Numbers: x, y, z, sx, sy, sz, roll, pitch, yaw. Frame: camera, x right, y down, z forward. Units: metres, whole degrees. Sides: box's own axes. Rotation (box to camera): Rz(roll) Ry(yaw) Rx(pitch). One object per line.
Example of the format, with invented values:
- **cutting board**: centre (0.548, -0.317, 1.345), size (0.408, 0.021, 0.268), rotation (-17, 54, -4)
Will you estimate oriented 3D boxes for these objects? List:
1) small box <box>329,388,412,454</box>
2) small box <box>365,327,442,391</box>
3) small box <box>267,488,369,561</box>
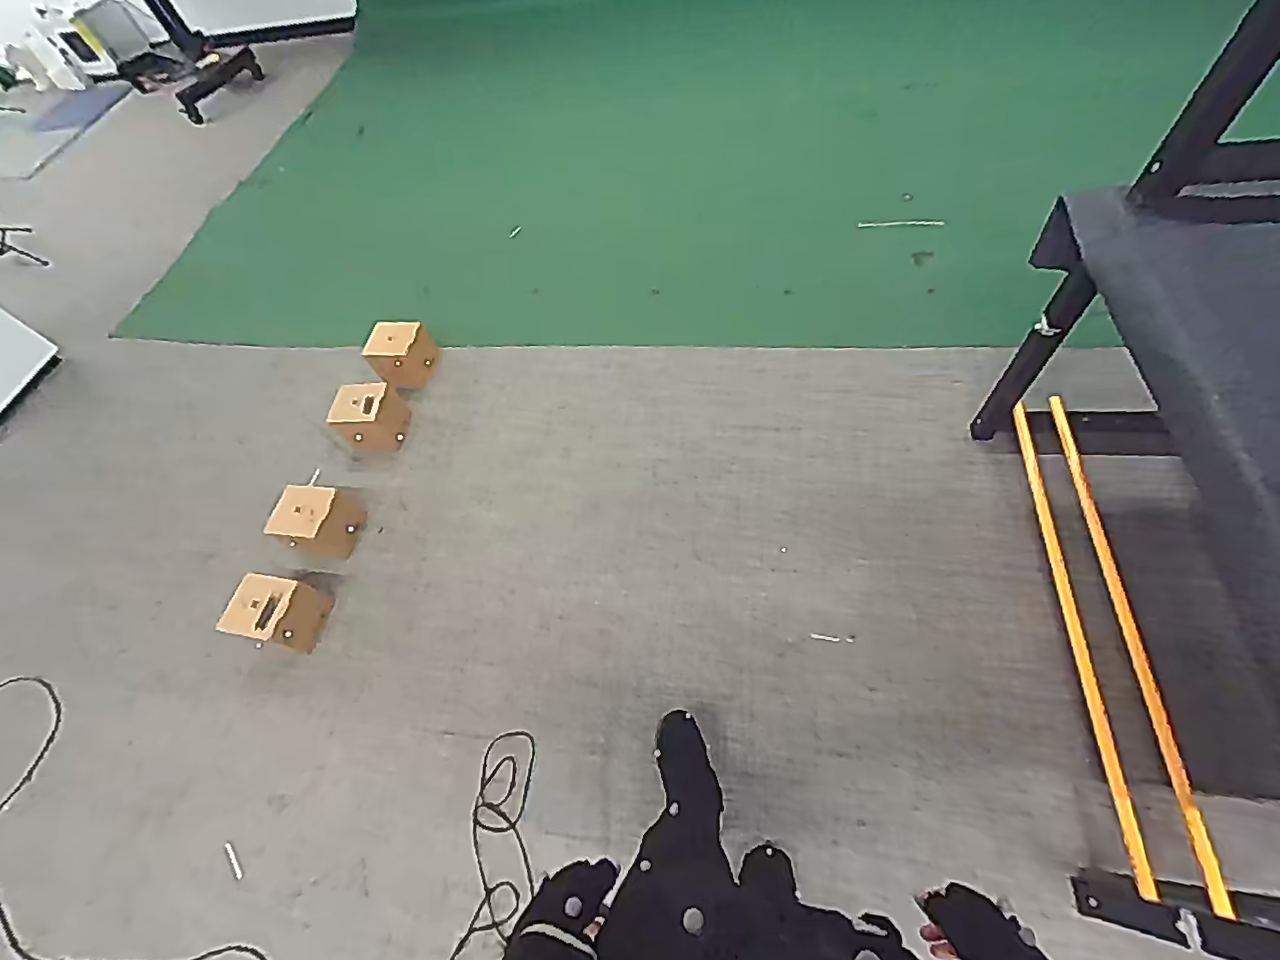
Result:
- **small box**: centre (-0.921, -0.200, 1.870), size (0.179, 0.176, 0.168), rotation (-1, 58, 9)
- **small box**: centre (-0.877, -0.449, 2.018), size (0.179, 0.176, 0.168), rotation (3, 60, 10)
- **small box**: centre (-0.985, 0.141, 1.667), size (0.179, 0.176, 0.168), rotation (4, 60, 10)
